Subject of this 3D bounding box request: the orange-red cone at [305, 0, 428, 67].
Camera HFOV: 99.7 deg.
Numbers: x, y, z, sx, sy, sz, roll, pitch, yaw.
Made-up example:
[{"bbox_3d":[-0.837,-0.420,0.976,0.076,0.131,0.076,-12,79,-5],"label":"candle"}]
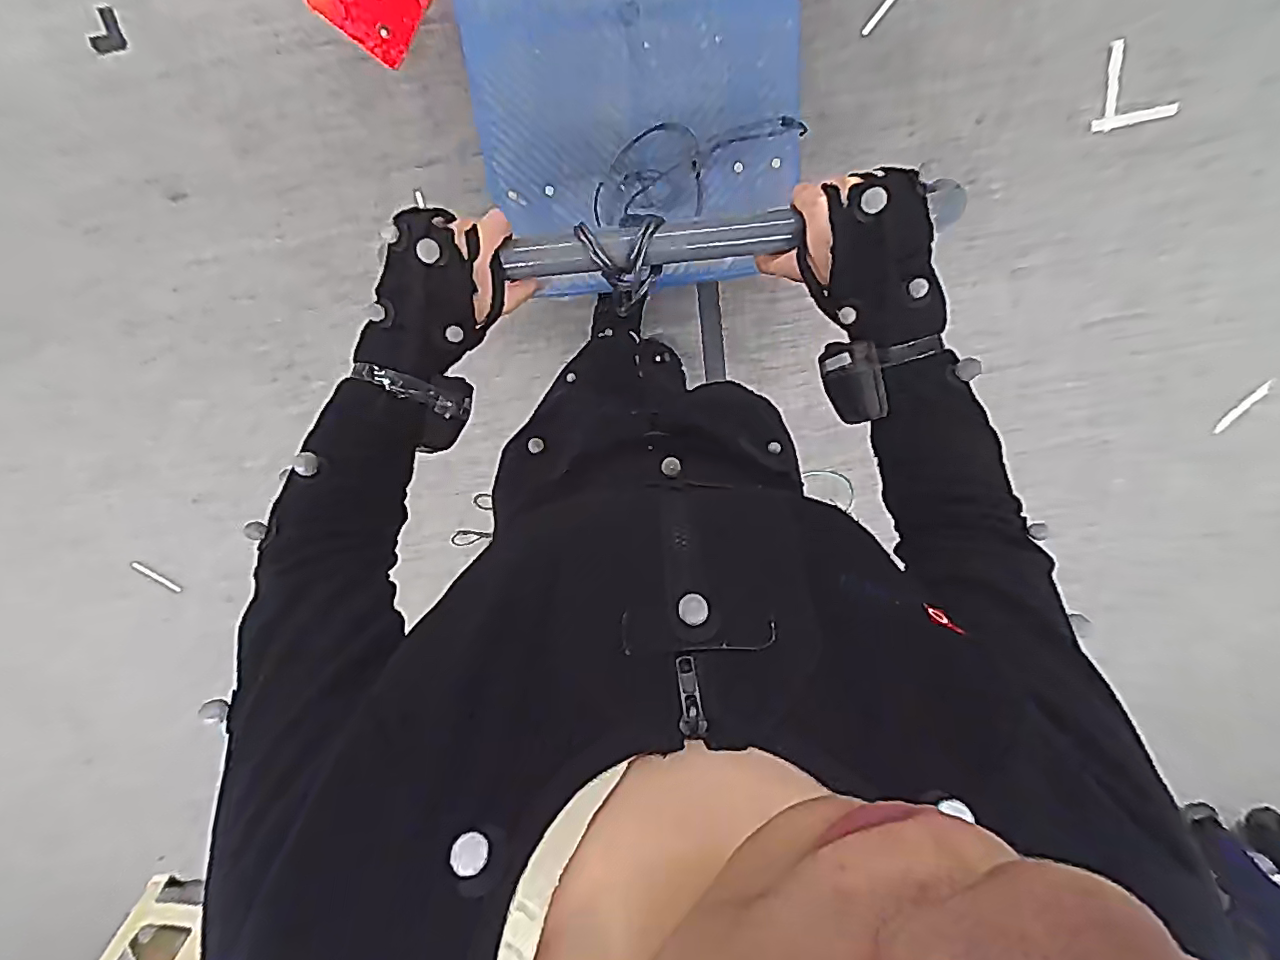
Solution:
[{"bbox_3d":[-0.505,-0.869,0.859,0.198,0.360,0.199,34,106,-15],"label":"orange-red cone"}]
